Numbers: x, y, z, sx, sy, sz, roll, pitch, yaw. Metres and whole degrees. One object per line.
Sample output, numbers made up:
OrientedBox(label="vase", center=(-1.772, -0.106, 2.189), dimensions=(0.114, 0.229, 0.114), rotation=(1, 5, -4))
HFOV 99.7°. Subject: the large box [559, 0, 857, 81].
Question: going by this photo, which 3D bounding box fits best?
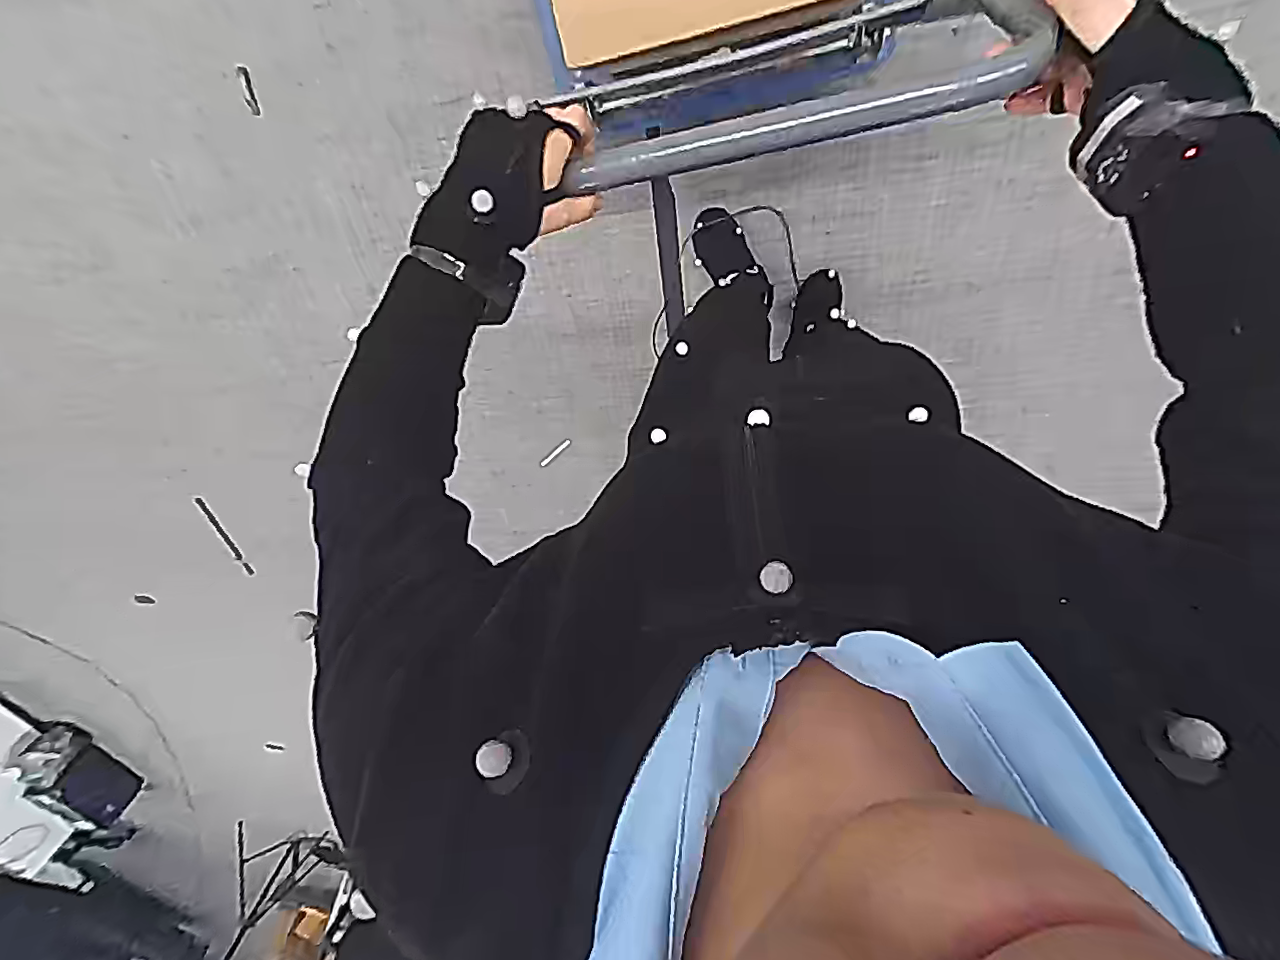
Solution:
OrientedBox(label="large box", center=(0.086, -0.776, 0.723), dimensions=(0.408, 0.320, 0.320), rotation=(-7, 125, 12))
